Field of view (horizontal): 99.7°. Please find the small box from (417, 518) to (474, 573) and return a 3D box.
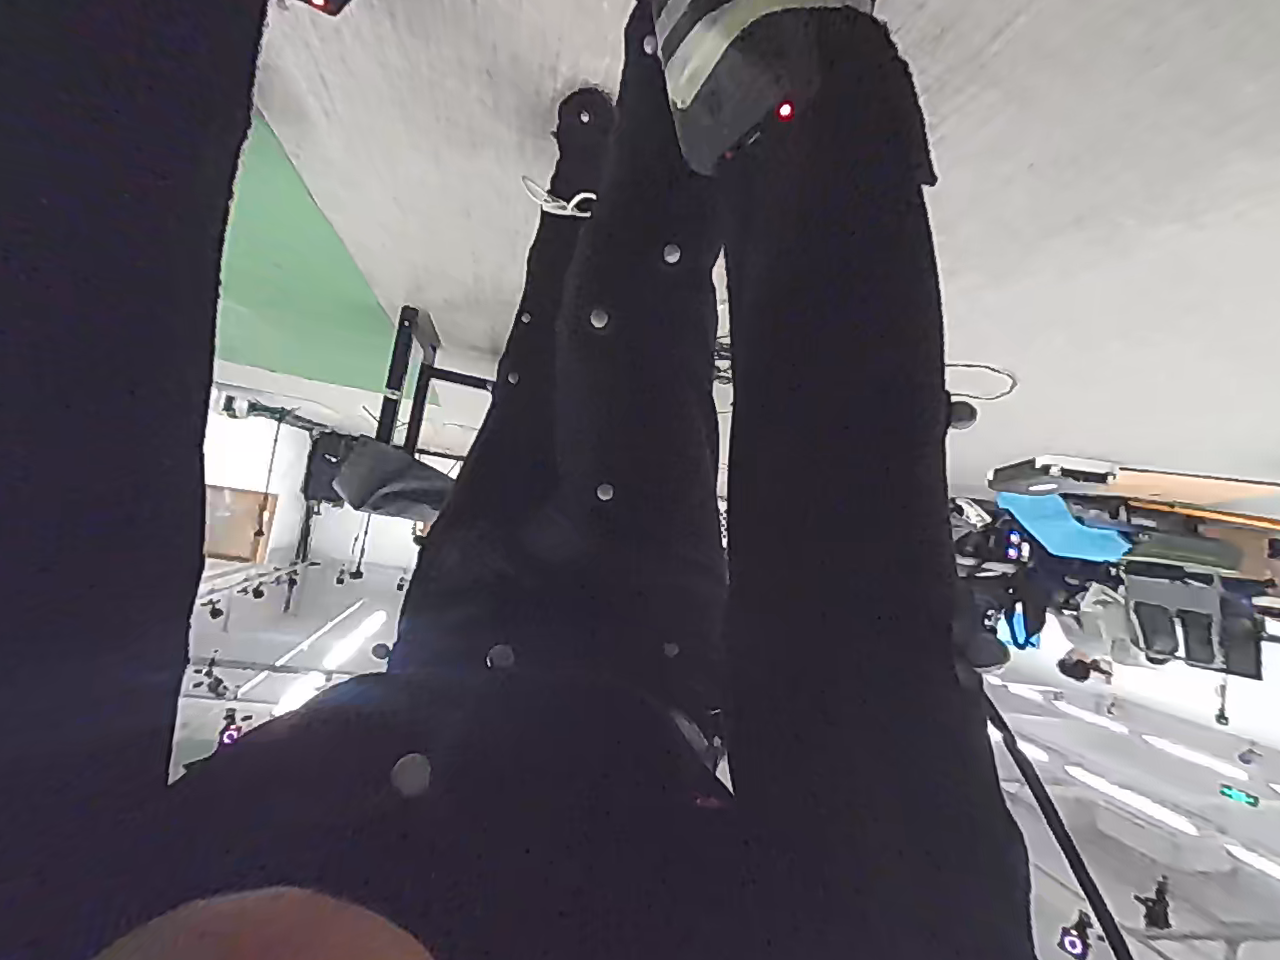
[{"bbox_3d":[-0.732,0.247,2.049,0.179,0.176,0.168,12,176,-16],"label":"small box"}]
